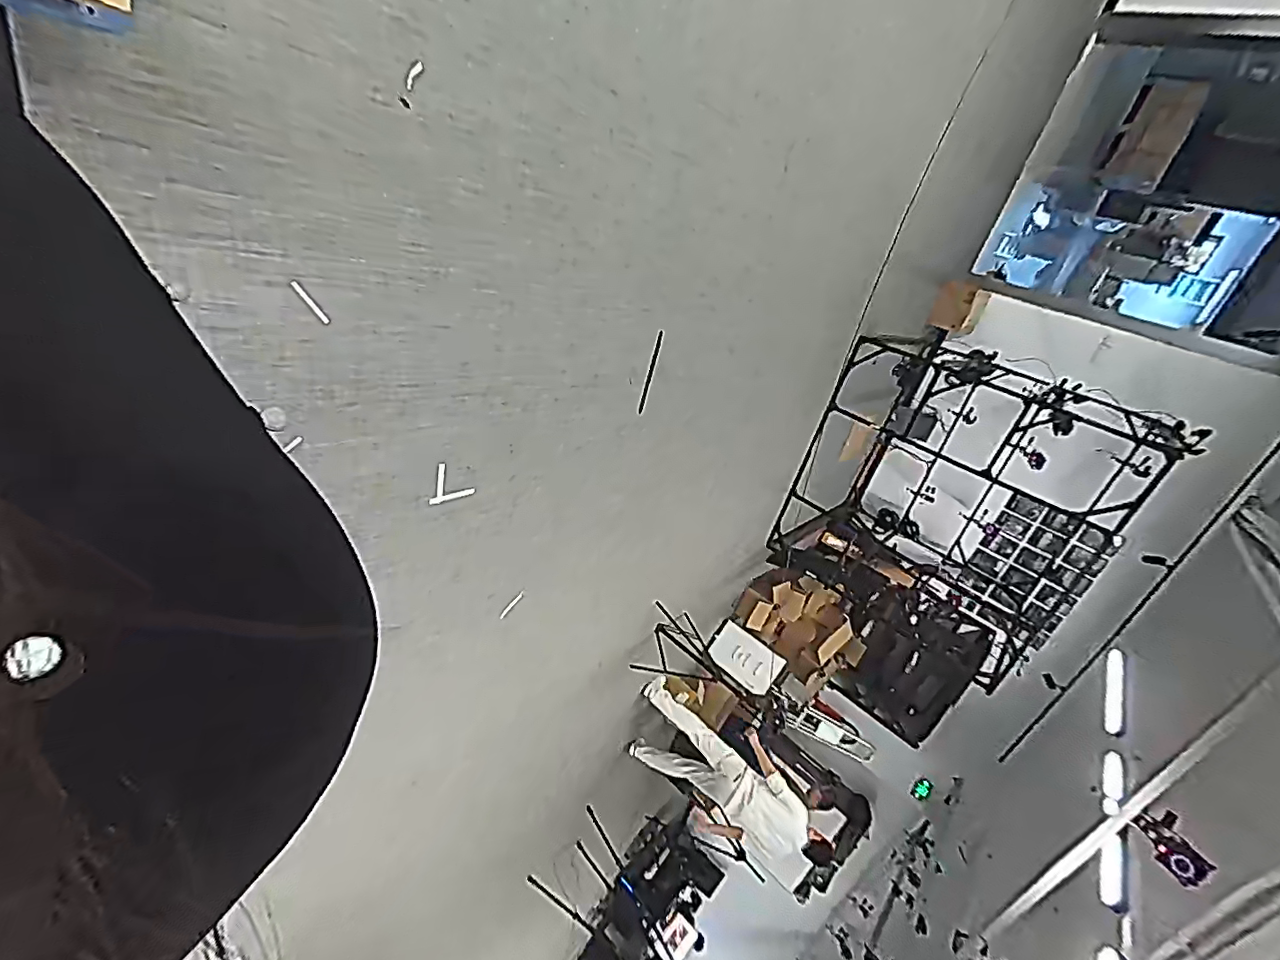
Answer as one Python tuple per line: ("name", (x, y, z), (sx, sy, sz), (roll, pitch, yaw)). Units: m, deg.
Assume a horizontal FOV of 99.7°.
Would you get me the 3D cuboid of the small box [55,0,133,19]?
("small box", (-0.624, -0.591, 0.519), (0.168, 0.176, 0.179), (-14, 129, -49))
